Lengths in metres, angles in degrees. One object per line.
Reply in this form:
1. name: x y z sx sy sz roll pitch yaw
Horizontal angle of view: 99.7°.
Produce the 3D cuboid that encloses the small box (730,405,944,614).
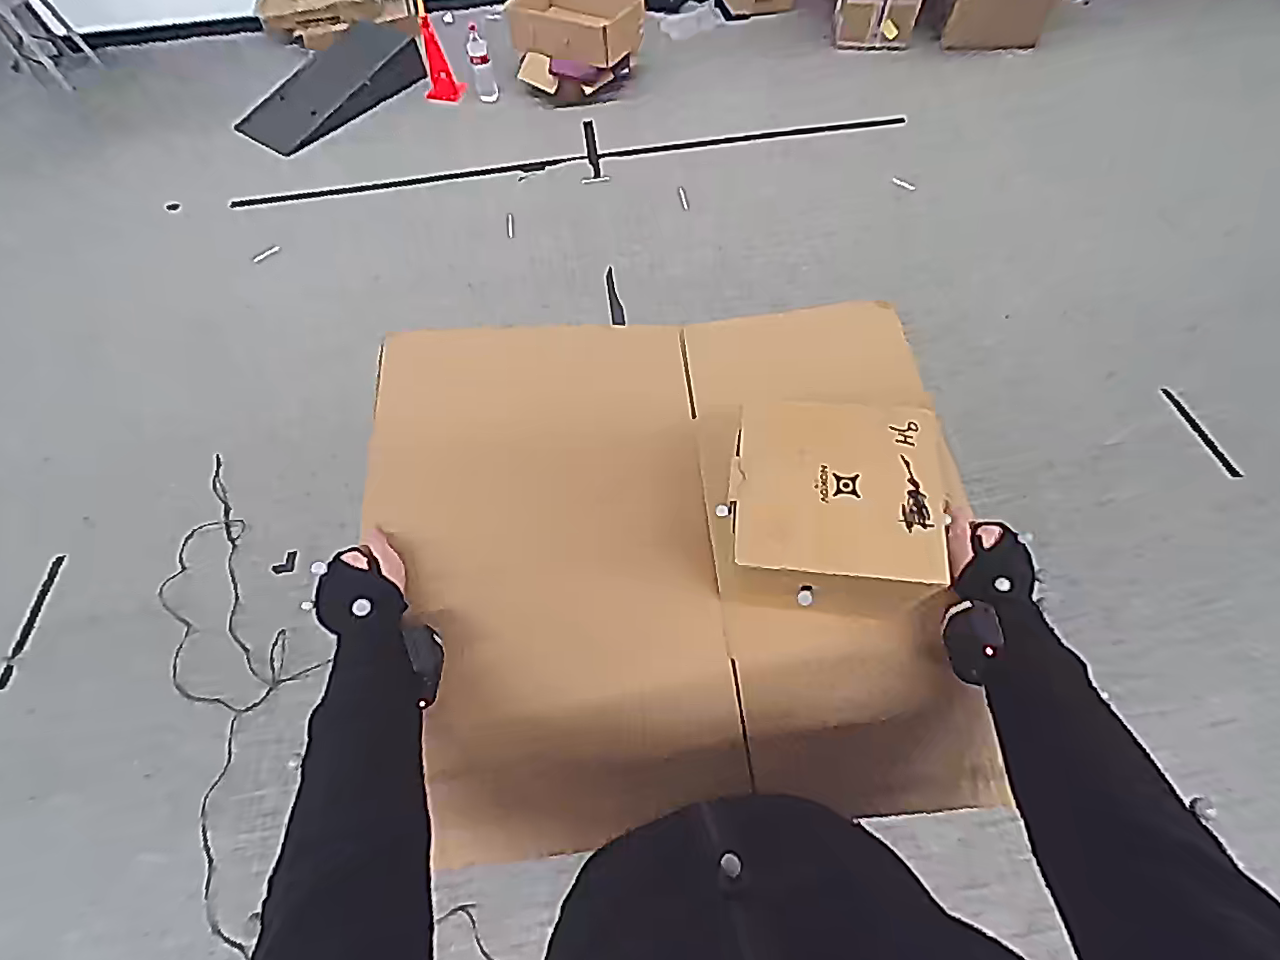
1. small box: 0.185 0.038 0.560 0.179 0.176 0.168 3 67 10
